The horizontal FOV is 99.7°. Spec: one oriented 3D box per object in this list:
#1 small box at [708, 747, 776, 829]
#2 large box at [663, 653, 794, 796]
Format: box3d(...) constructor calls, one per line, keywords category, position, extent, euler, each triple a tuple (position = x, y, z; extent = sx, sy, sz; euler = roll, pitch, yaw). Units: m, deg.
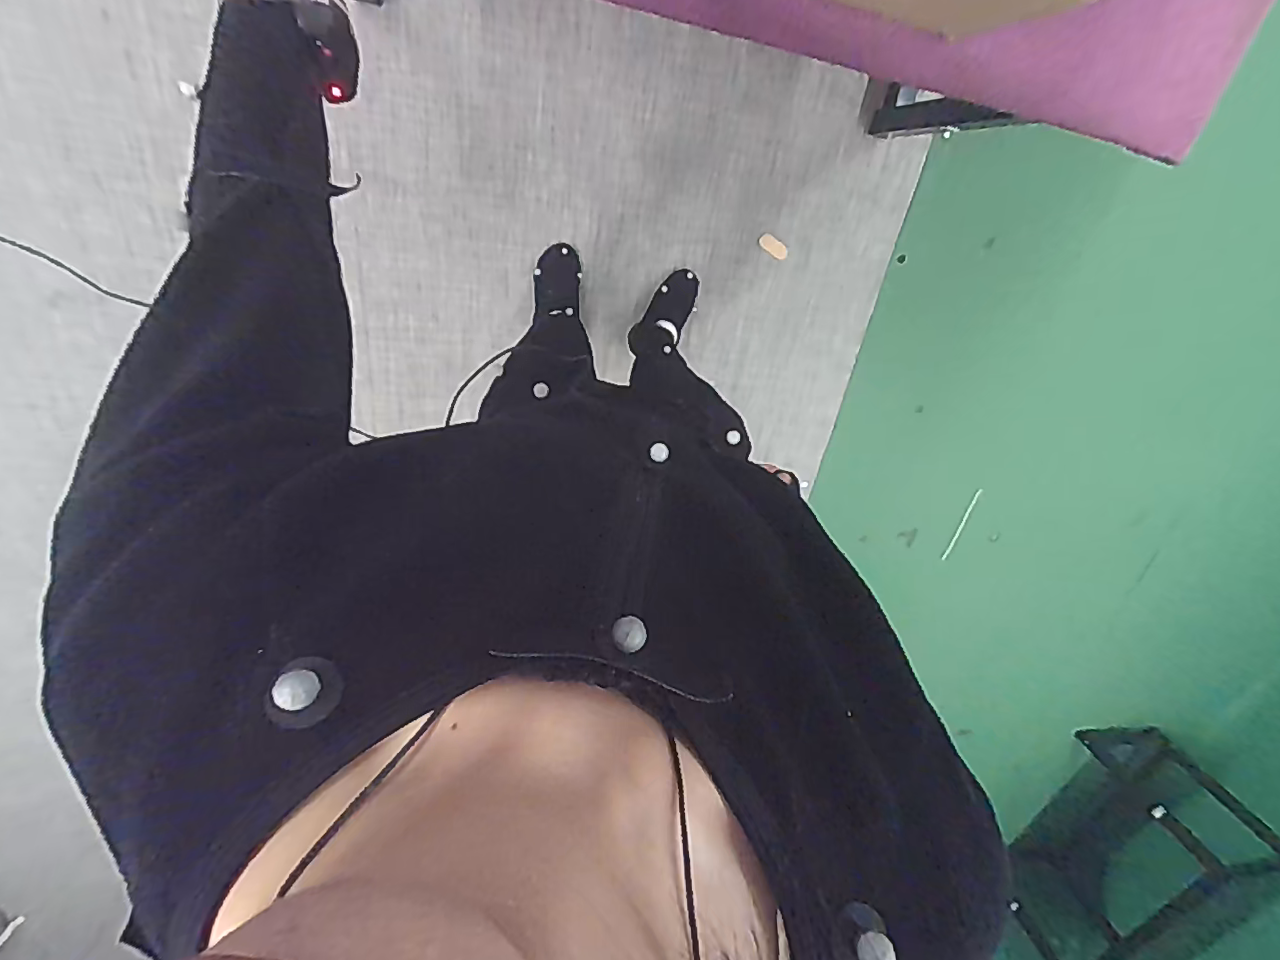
box3d(category="small box", position=(0.339, 1.029, 1.819), extent=(0.179, 0.176, 0.168), euler=(-7, 117, -7))
box3d(category="large box", position=(0.323, 0.909, 2.035), extent=(0.408, 0.320, 0.320), euler=(-10, 121, -7))
